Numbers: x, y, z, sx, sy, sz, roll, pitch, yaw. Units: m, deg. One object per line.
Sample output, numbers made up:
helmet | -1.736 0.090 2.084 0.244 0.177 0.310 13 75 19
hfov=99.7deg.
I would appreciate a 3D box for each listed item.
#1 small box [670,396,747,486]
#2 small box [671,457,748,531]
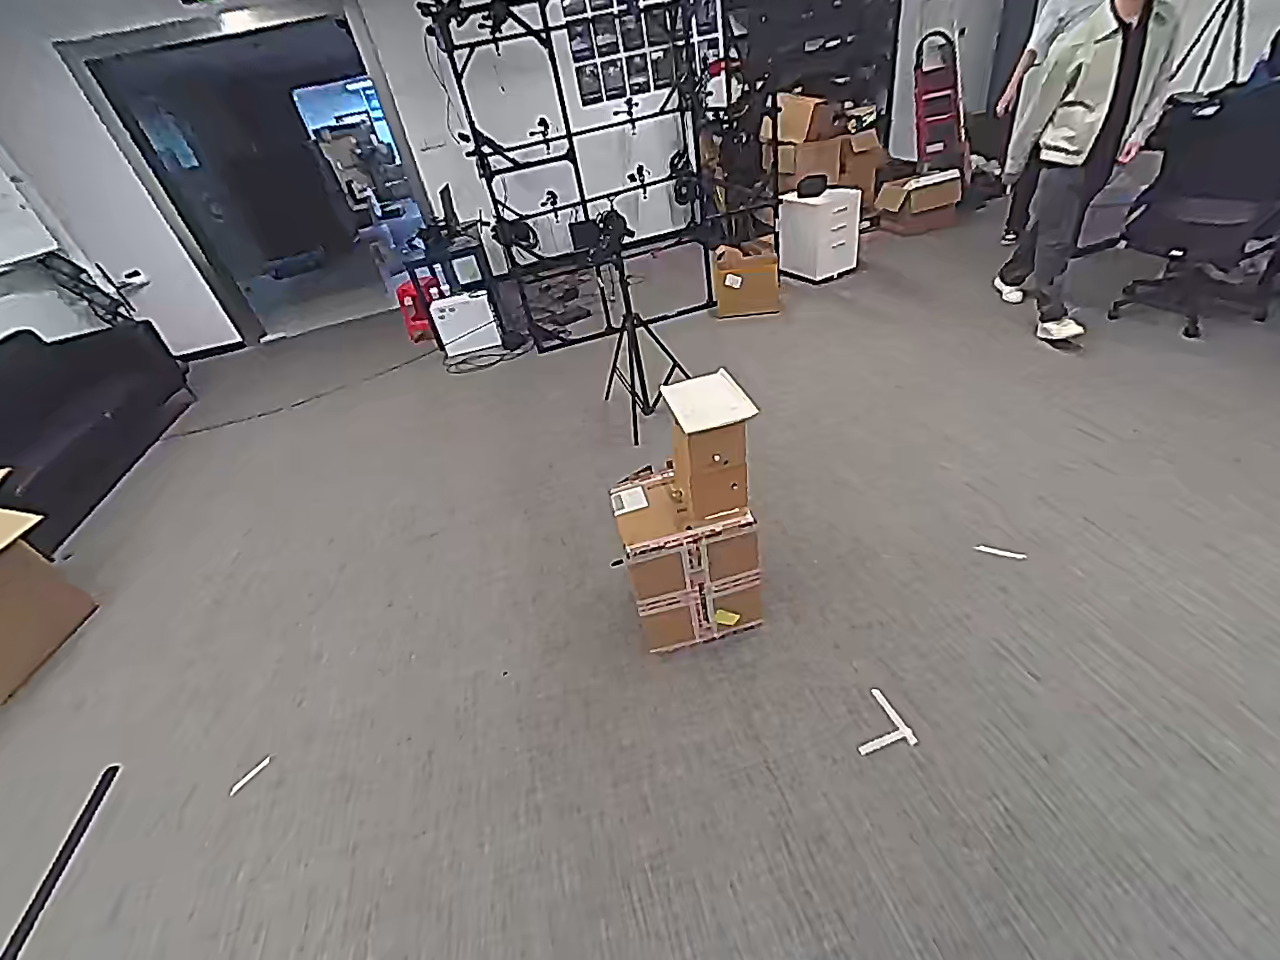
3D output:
small box | 0.186 -0.108 1.497 0.168 0.176 0.179 -14 38 -6
small box | 0.204 0.022 1.595 0.179 0.176 0.168 -16 37 -9
